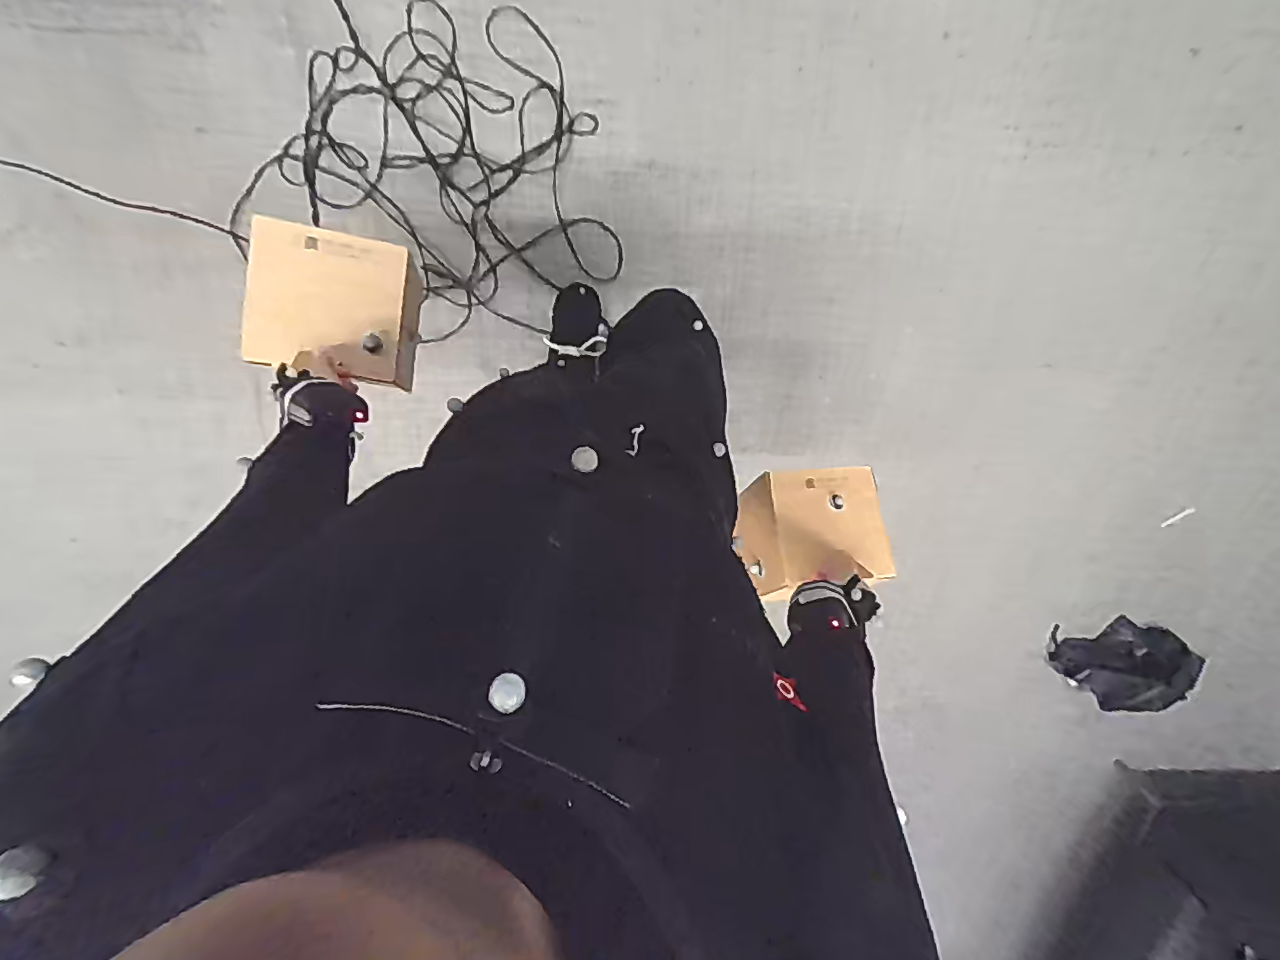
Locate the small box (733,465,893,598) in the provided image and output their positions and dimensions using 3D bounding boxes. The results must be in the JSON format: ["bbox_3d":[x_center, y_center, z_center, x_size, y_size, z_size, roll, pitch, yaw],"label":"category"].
[{"bbox_3d":[0.251,0.084,0.830,0.168,0.179,0.176,-1,72,-12],"label":"small box"}]
